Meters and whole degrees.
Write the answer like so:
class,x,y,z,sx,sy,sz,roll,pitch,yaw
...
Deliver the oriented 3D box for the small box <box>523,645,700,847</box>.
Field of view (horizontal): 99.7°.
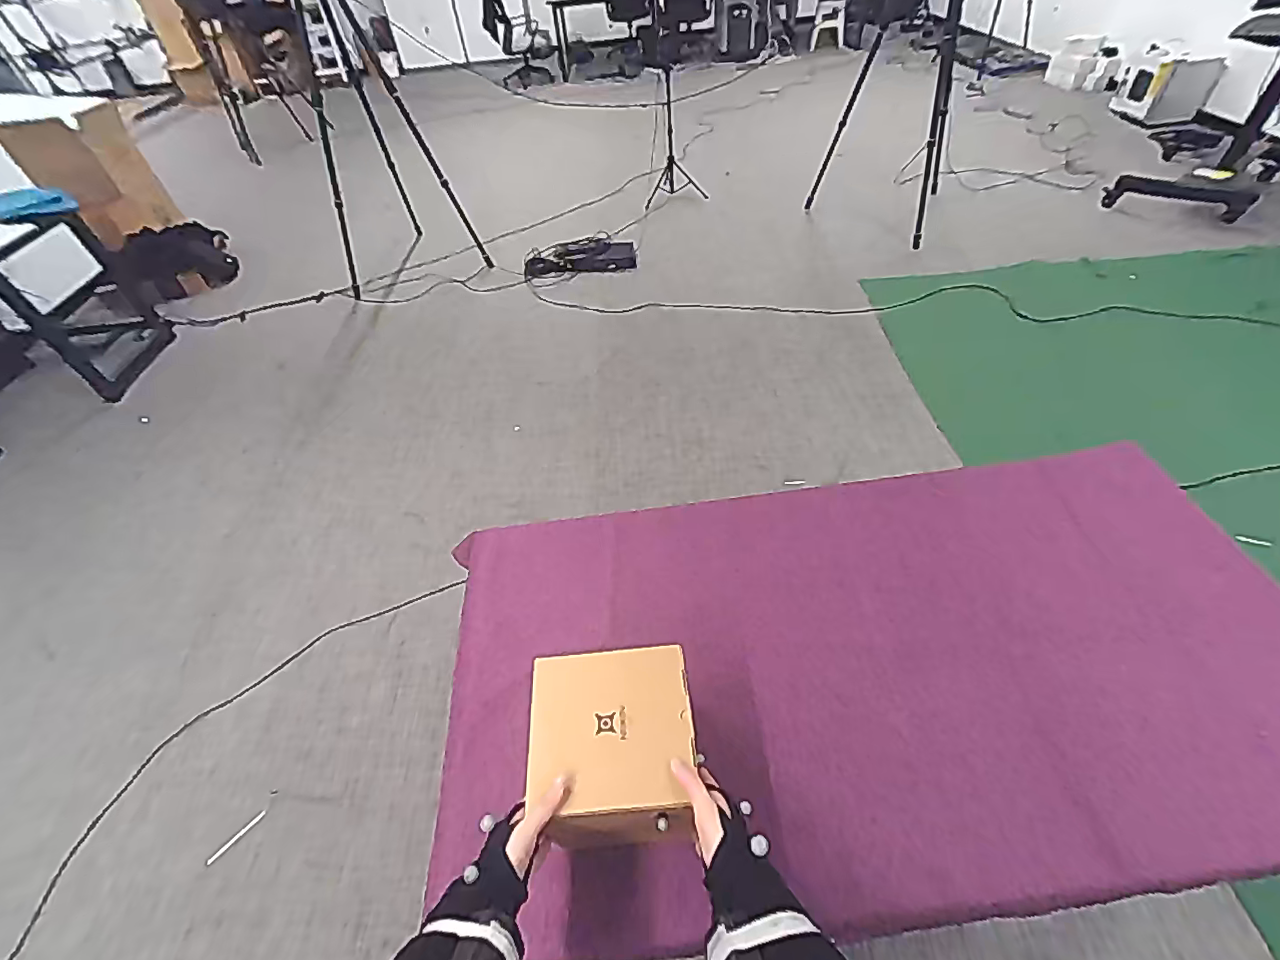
class,x,y,z,sx,sy,sz,roll,pitch,yaw
small box,-0.026,0.318,0.641,0.179,0.176,0.168,-6,46,1
